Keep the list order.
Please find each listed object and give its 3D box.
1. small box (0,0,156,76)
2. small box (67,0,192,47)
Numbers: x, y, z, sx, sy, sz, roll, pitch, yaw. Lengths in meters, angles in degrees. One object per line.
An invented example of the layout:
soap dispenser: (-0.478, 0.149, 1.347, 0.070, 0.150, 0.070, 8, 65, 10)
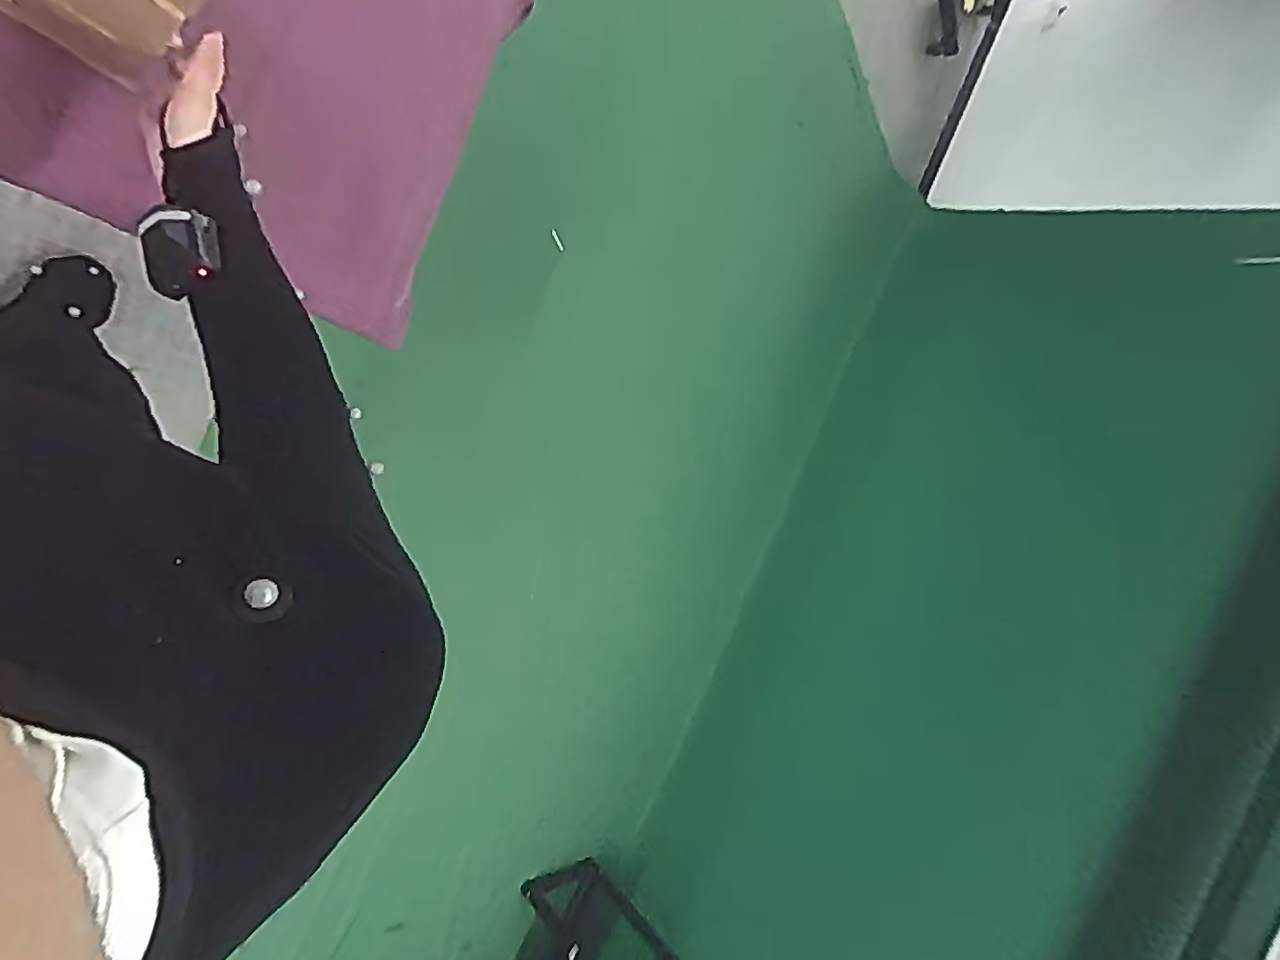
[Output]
small box: (-0.517, -0.499, 0.473, 0.179, 0.176, 0.168, 25, 91, -51)
small box: (-0.400, -0.448, 0.371, 0.179, 0.176, 0.168, 22, 93, -50)
